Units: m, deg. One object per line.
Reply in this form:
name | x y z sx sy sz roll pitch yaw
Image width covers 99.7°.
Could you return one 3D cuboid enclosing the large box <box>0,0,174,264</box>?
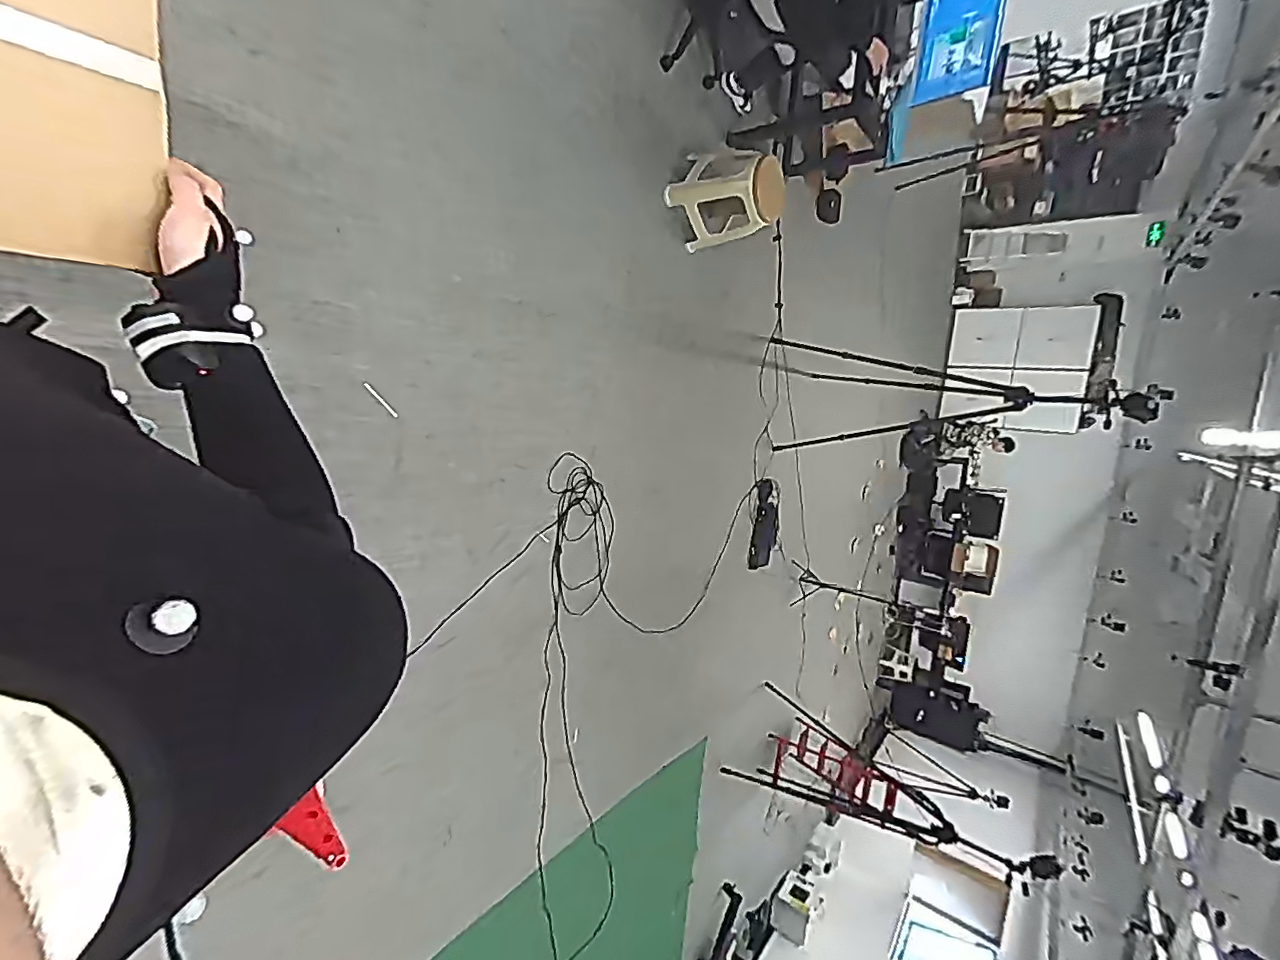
large box | -0.634 -0.368 0.372 0.408 0.320 0.320 -13 126 -53
